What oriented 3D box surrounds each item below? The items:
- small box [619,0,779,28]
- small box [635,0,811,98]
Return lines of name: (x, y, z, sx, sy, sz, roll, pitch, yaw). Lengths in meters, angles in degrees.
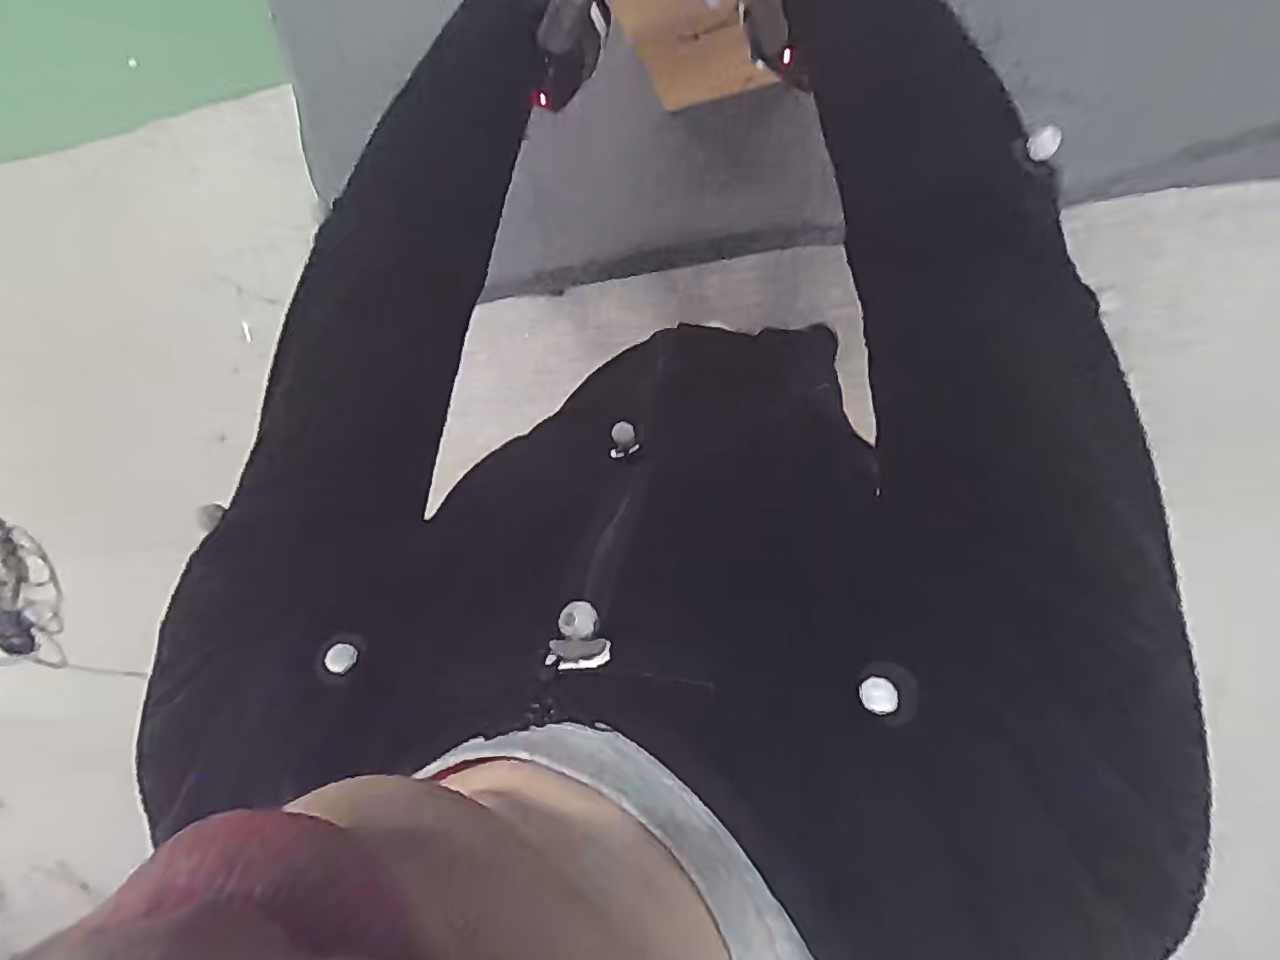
small box: (0.046, -0.484, 0.406, 0.168, 0.176, 0.179, -5, 108, 12)
small box: (0.080, -0.529, 0.558, 0.168, 0.176, 0.179, -6, 105, 13)
